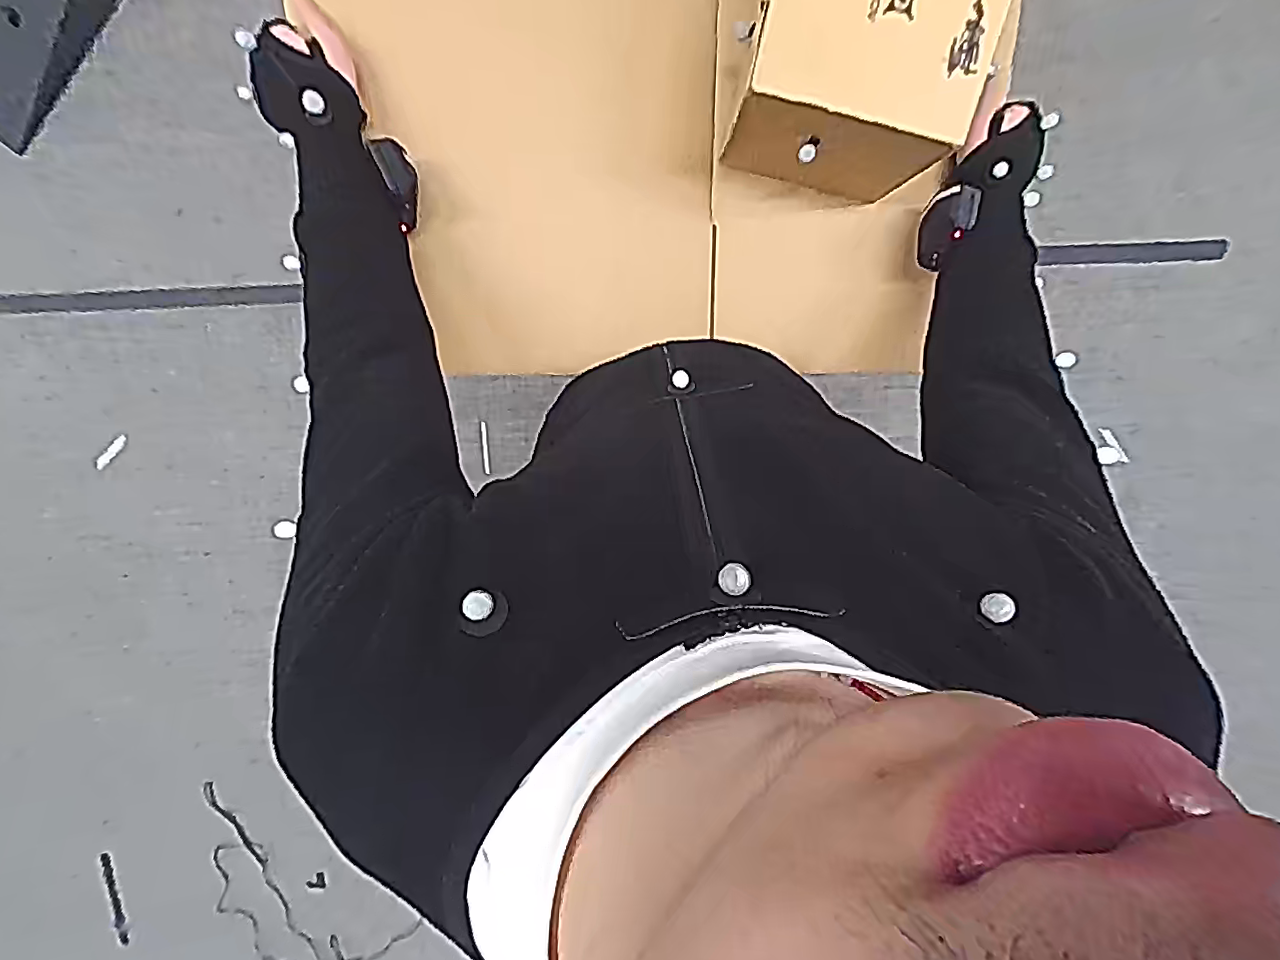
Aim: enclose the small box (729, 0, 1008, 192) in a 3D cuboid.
[{"bbox_3d":[0.187,-0.379,0.478,0.179,0.176,0.168,13,103,-2],"label":"small box"}]
